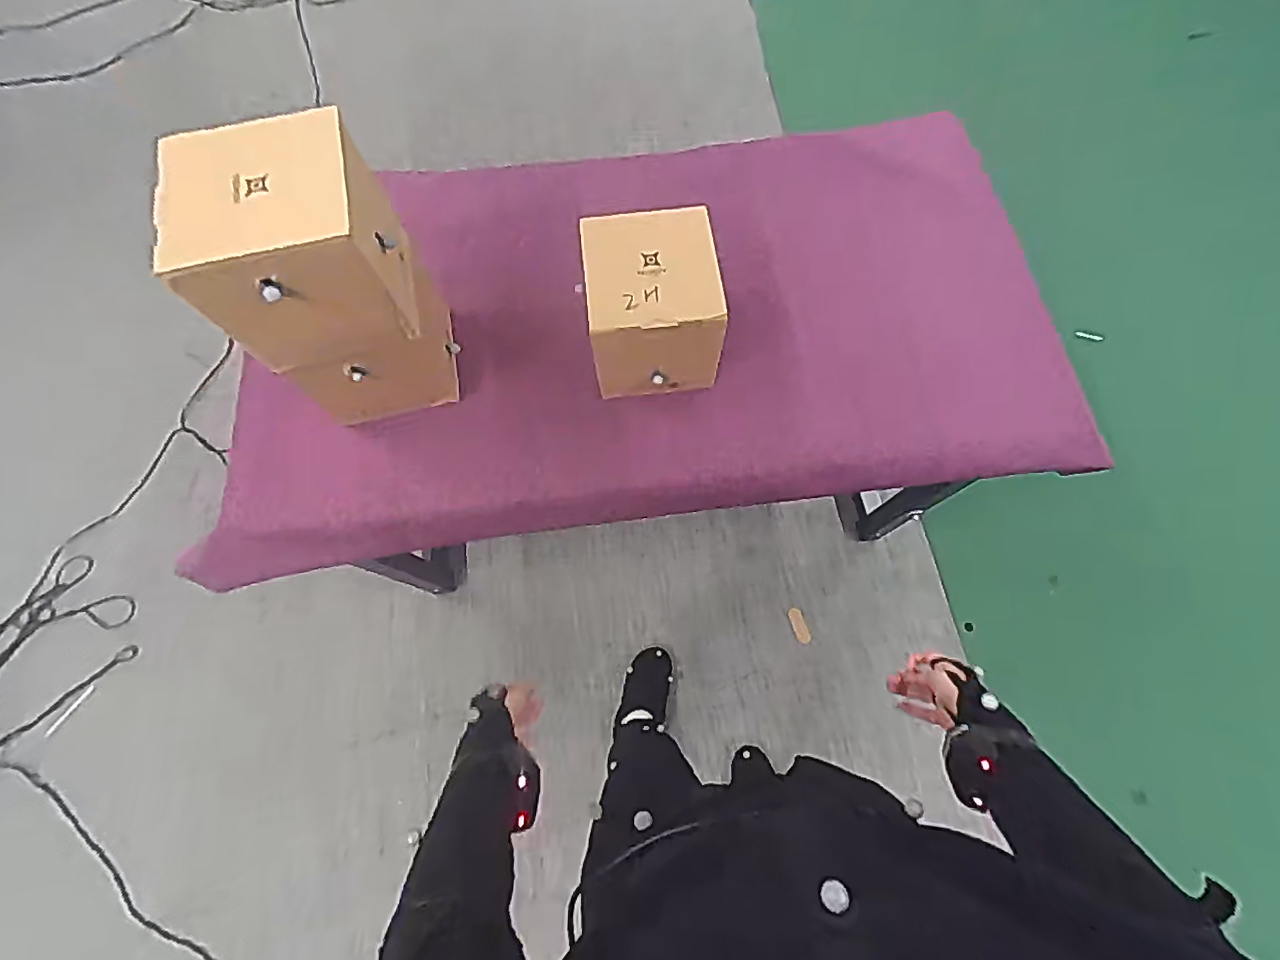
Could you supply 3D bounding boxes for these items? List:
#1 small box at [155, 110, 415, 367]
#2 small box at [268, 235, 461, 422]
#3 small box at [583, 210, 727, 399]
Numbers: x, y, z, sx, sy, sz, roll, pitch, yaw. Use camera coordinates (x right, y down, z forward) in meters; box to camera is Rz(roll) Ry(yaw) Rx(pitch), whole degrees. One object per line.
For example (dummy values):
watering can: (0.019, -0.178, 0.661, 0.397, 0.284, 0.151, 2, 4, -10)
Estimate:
small box: (-0.358, -0.245, 0.579, 0.179, 0.176, 0.168, -14, 72, -3)
small box: (-0.361, -0.194, 0.732, 0.179, 0.176, 0.168, -12, 71, -4)
small box: (0.015, -0.231, 0.737, 0.168, 0.176, 0.179, -6, 70, -1)
